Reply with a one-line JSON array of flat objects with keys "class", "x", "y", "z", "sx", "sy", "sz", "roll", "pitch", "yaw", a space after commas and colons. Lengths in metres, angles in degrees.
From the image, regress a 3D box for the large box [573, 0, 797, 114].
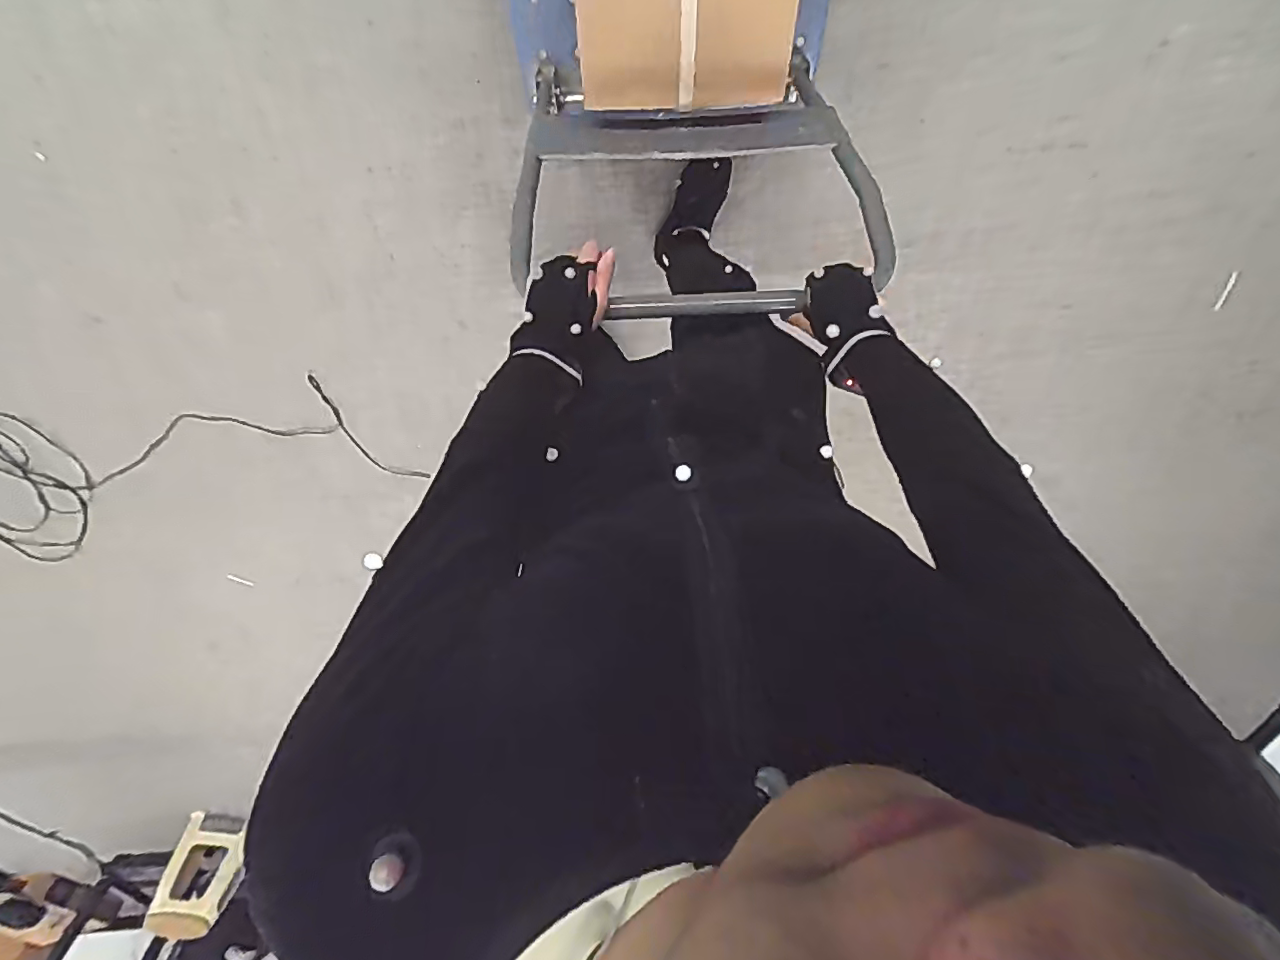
[{"class": "large box", "x": 0.060, "y": -0.819, "z": 0.795, "sx": 0.320, "sy": 0.320, "sz": 0.408, "roll": -2, "pitch": 138, "yaw": 0}]
